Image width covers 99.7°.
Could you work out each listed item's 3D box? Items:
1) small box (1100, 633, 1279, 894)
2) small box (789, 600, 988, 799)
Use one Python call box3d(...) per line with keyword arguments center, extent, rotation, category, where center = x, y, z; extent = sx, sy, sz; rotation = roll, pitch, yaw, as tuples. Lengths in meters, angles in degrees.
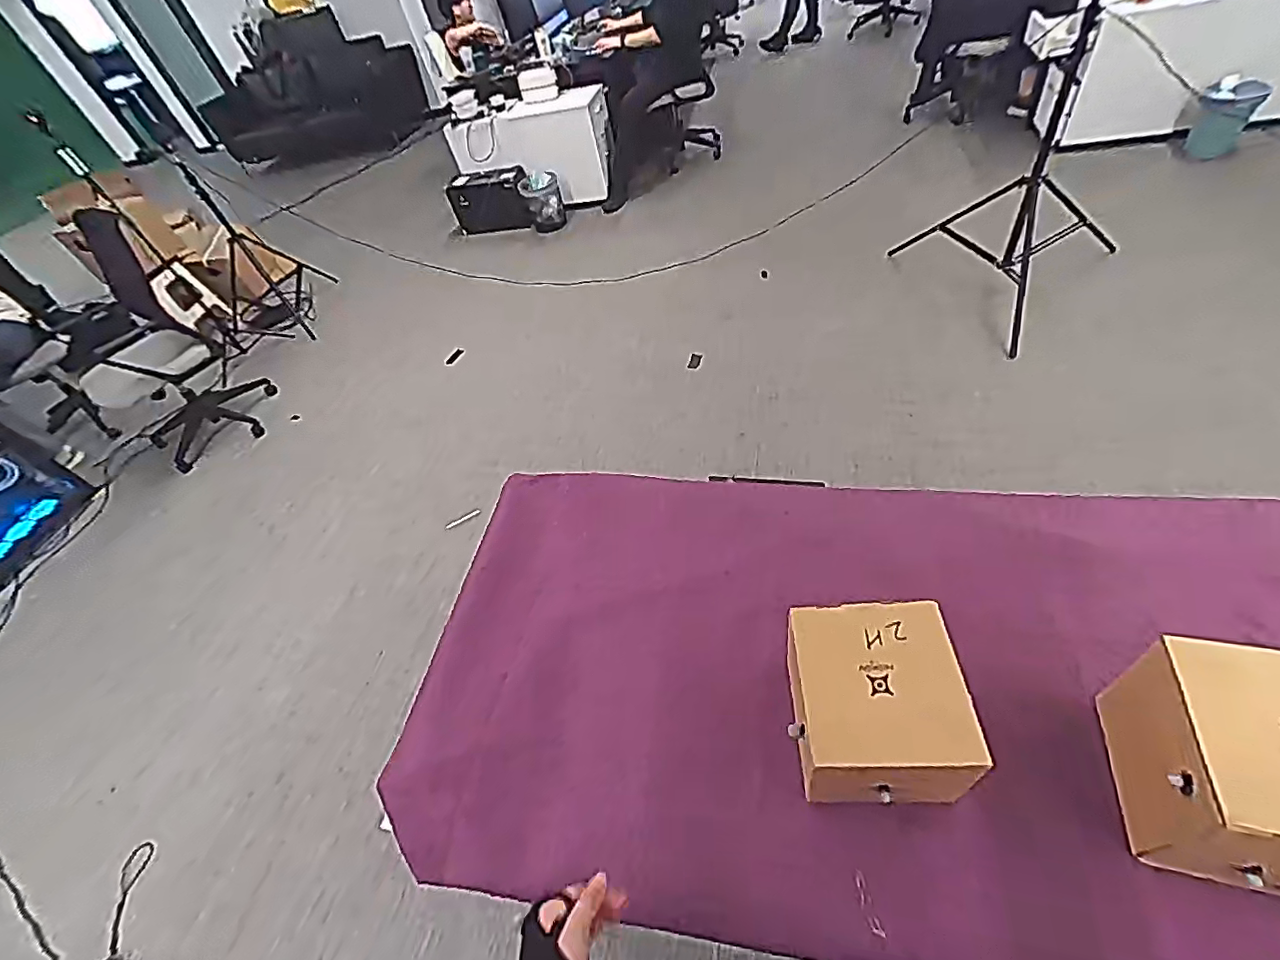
box3d(center=(0.599, 0.280, 0.531), extent=(0.168, 0.176, 0.179), rotation=(5, 50, 19), category="small box")
box3d(center=(0.269, 0.262, 0.634), extent=(0.168, 0.176, 0.179), rotation=(-5, 48, 10), category="small box")
